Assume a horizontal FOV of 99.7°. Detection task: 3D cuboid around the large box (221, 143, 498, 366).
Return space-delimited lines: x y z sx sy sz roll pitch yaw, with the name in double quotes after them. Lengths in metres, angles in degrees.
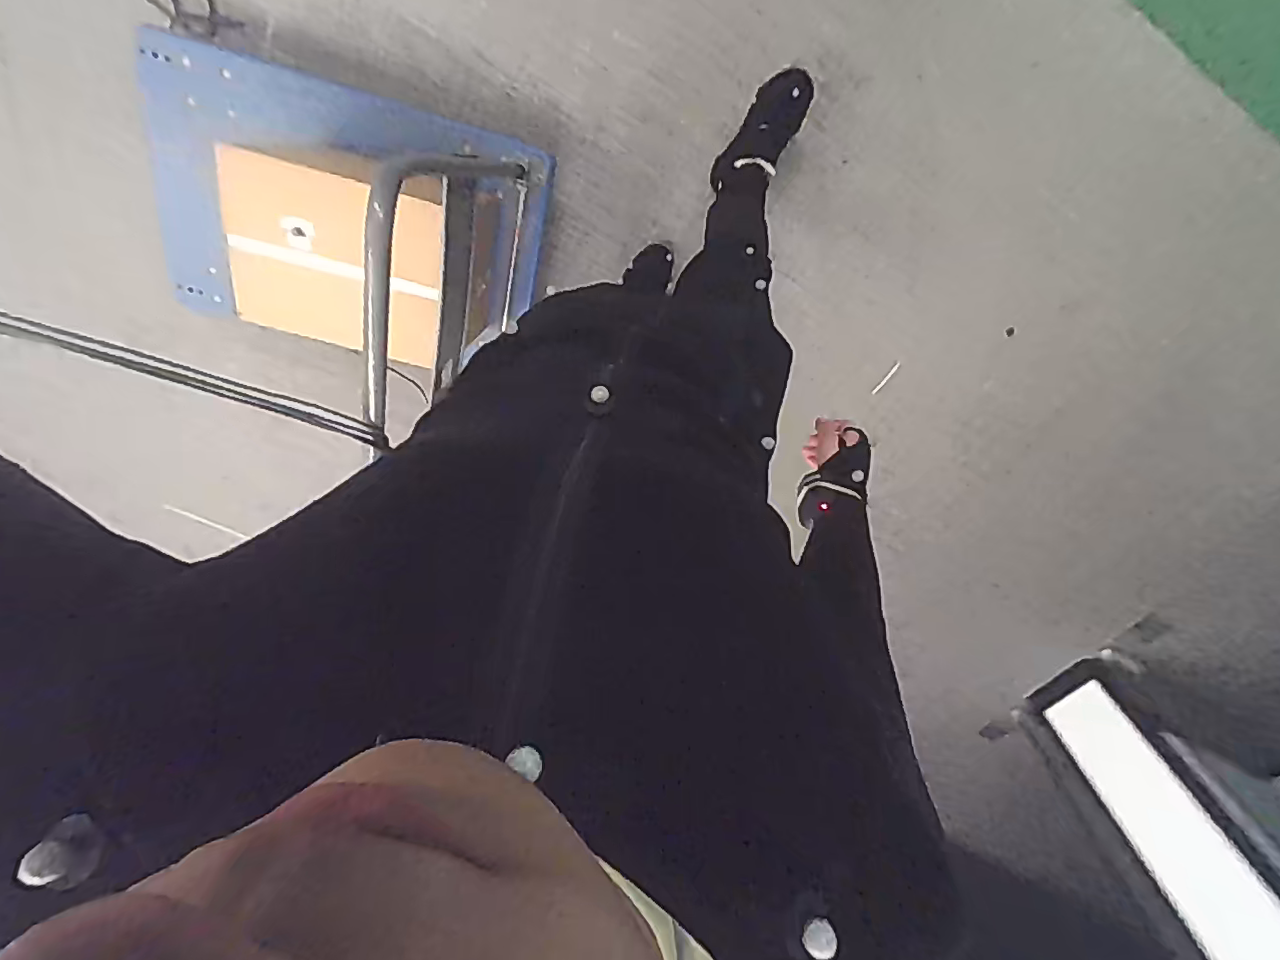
-0.546 -0.478 1.133 0.408 0.320 0.320 15 120 -4 "large box"
